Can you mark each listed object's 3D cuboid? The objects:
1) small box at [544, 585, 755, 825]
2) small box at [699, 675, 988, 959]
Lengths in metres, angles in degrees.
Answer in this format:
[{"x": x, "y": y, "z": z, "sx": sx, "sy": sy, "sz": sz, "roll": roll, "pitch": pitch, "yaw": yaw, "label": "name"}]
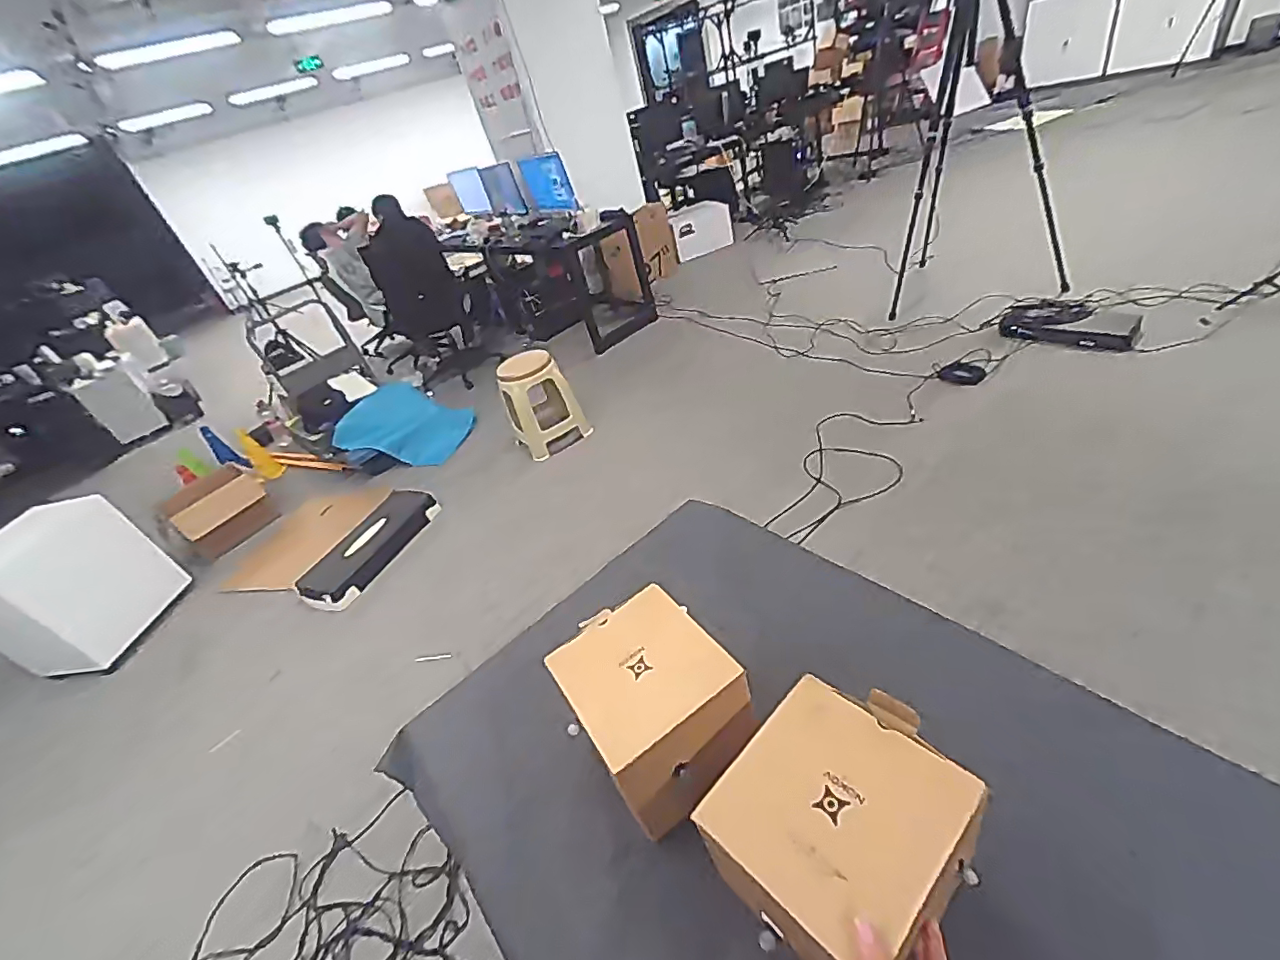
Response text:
[{"x": 0.017, "y": 0.266, "z": 0.637, "sx": 0.168, "sy": 0.176, "sz": 0.179, "roll": -31, "pitch": 37, "yaw": -19, "label": "small box"}, {"x": 0.180, "y": 0.324, "z": 0.487, "sx": 0.179, "sy": 0.176, "sz": 0.168, "roll": -39, "pitch": 40, "yaw": -27, "label": "small box"}]
